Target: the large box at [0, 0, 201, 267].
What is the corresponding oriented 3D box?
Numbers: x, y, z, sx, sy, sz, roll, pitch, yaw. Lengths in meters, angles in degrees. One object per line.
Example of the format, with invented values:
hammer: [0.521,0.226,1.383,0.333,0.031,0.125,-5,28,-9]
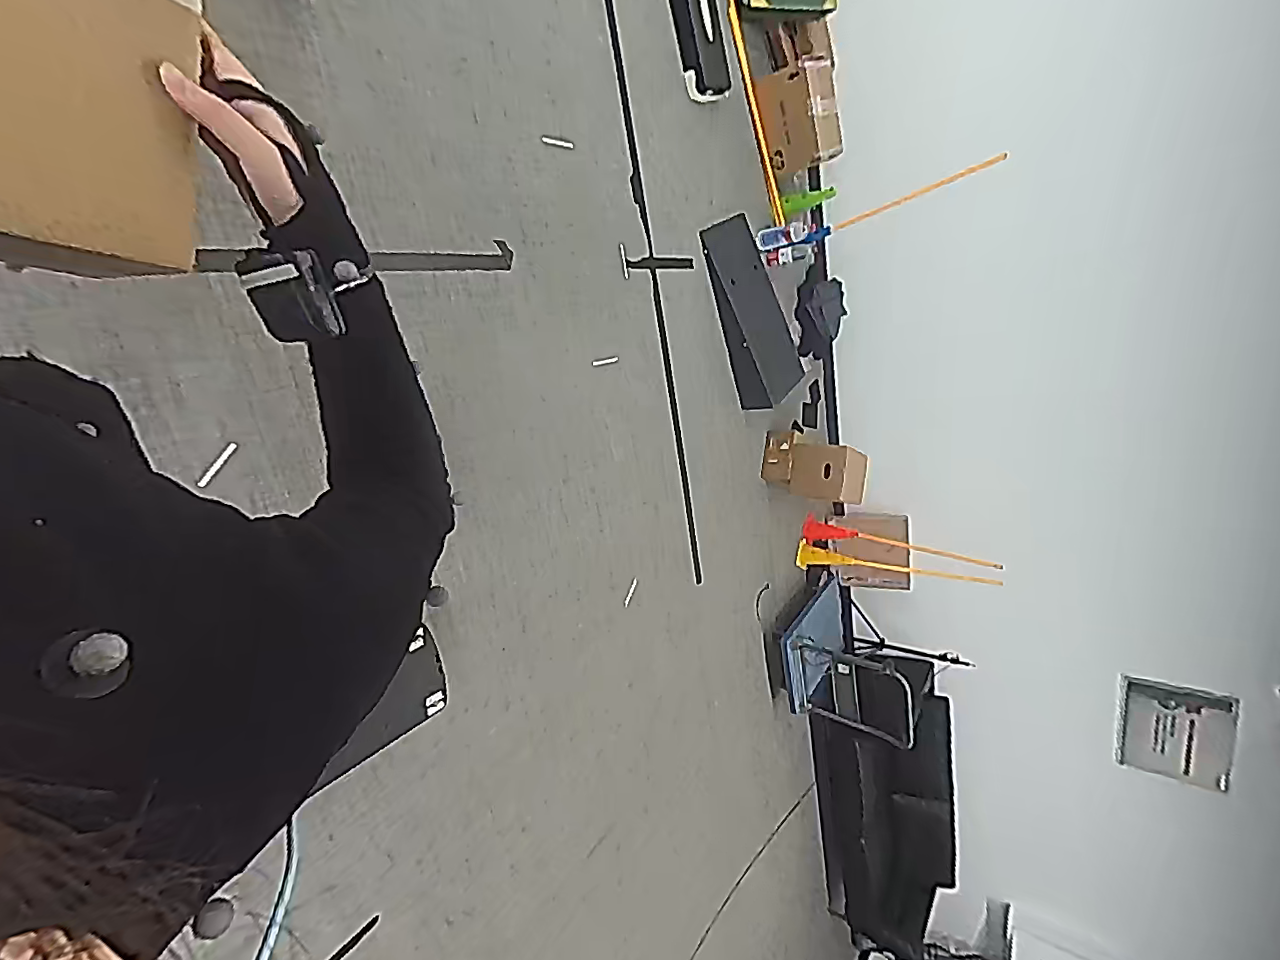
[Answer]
large box: [-0.494,-0.305,0.251,0.408,0.320,0.320,-3,104,-52]
